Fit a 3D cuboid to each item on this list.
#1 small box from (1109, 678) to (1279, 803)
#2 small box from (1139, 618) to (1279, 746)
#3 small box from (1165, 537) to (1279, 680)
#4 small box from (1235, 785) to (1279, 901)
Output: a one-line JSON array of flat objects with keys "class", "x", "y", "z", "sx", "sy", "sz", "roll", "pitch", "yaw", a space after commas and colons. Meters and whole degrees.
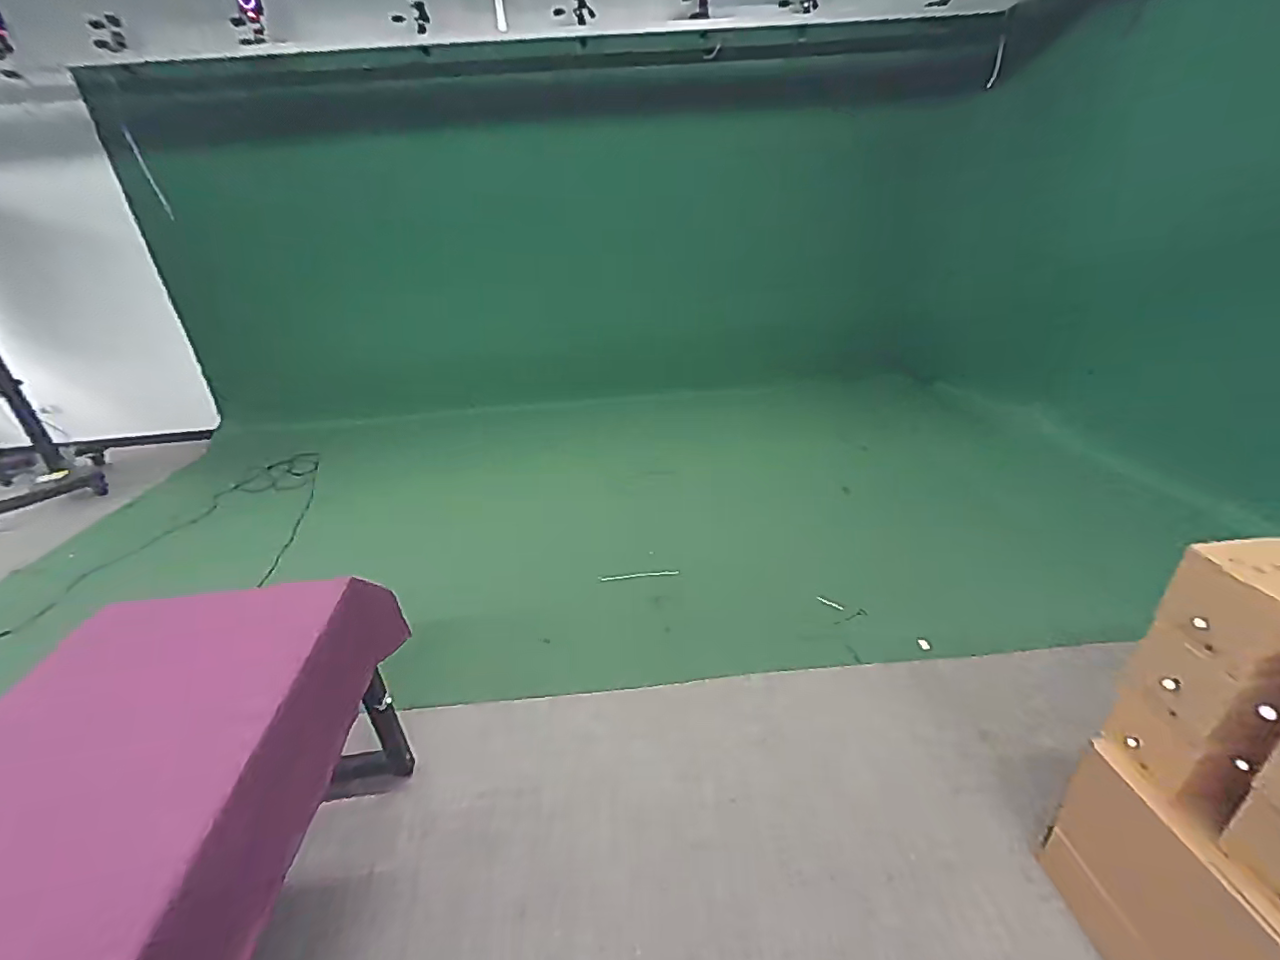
[{"class": "small box", "x": 1.100, "y": 0.509, "z": 1.074, "sx": 0.179, "sy": 0.176, "sz": 0.168, "roll": -6, "pitch": 28, "yaw": -1}, {"class": "small box", "x": 1.082, "y": 0.365, "z": 0.998, "sx": 0.179, "sy": 0.176, "sz": 0.168, "roll": -6, "pitch": 28, "yaw": 1}, {"class": "small box", "x": 1.072, "y": 0.217, "z": 0.923, "sx": 0.179, "sy": 0.176, "sz": 0.168, "roll": -5, "pitch": 28, "yaw": 0}, {"class": "small box", "x": 1.127, "y": 0.614, "z": 0.863, "sx": 0.179, "sy": 0.176, "sz": 0.168, "roll": -3, "pitch": 27, "yaw": 1}]
